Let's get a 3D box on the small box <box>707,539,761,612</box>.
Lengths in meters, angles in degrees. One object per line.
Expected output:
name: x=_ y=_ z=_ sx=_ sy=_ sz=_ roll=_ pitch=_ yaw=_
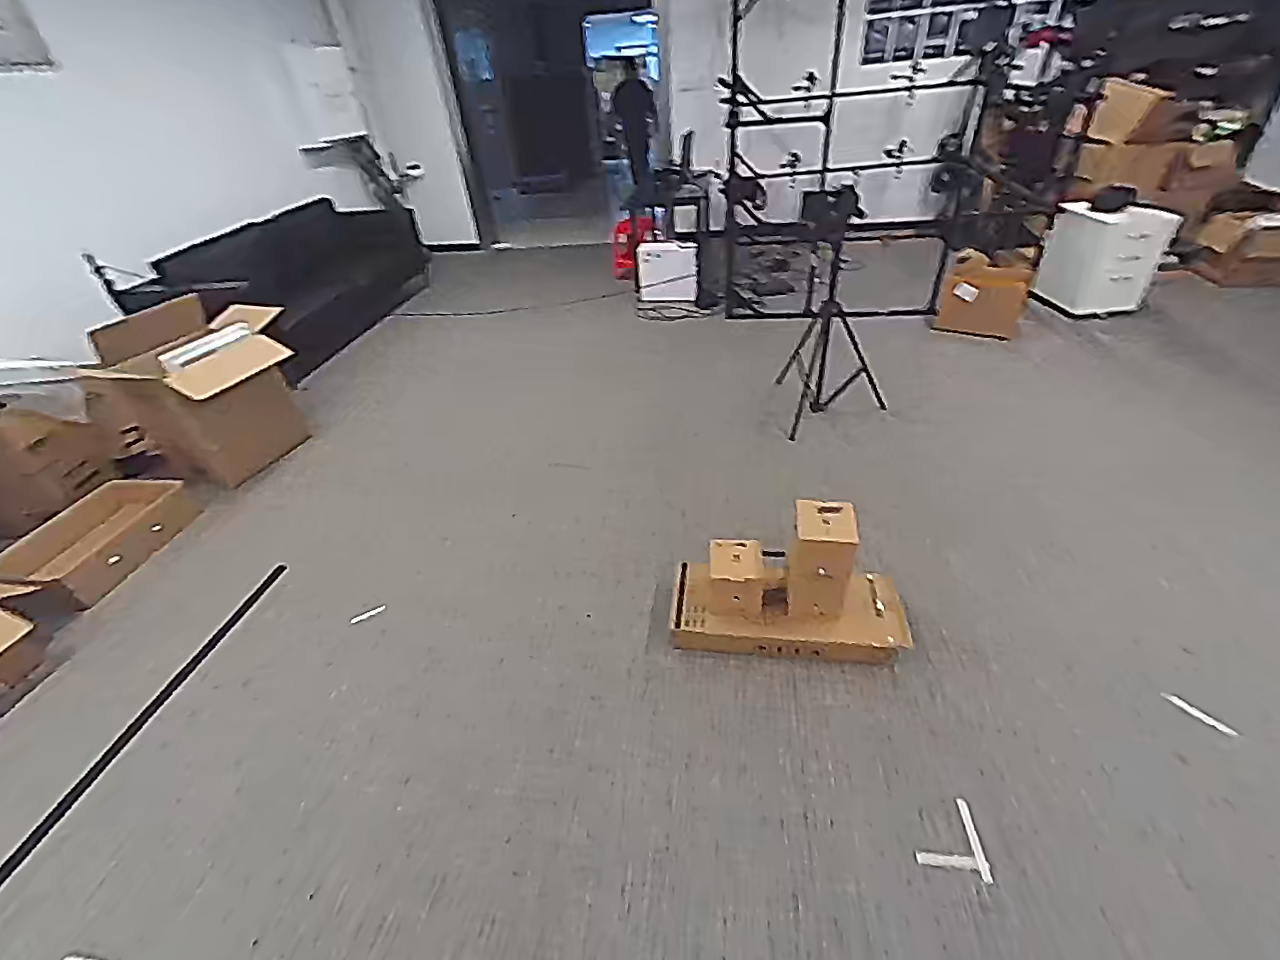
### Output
small box: x=0.305 y=0.314 z=1.770 sx=0.168 sy=0.176 sz=0.179 roll=0 pitch=38 yaw=7

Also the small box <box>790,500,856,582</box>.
small box: x=0.547 y=0.182 z=1.640 sx=0.168 sy=0.176 sz=0.179 roll=3 pitch=38 yaw=12

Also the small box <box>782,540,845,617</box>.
small box: x=0.551 y=0.315 z=1.738 sx=0.168 sy=0.176 sz=0.179 roll=1 pitch=37 yaw=9
